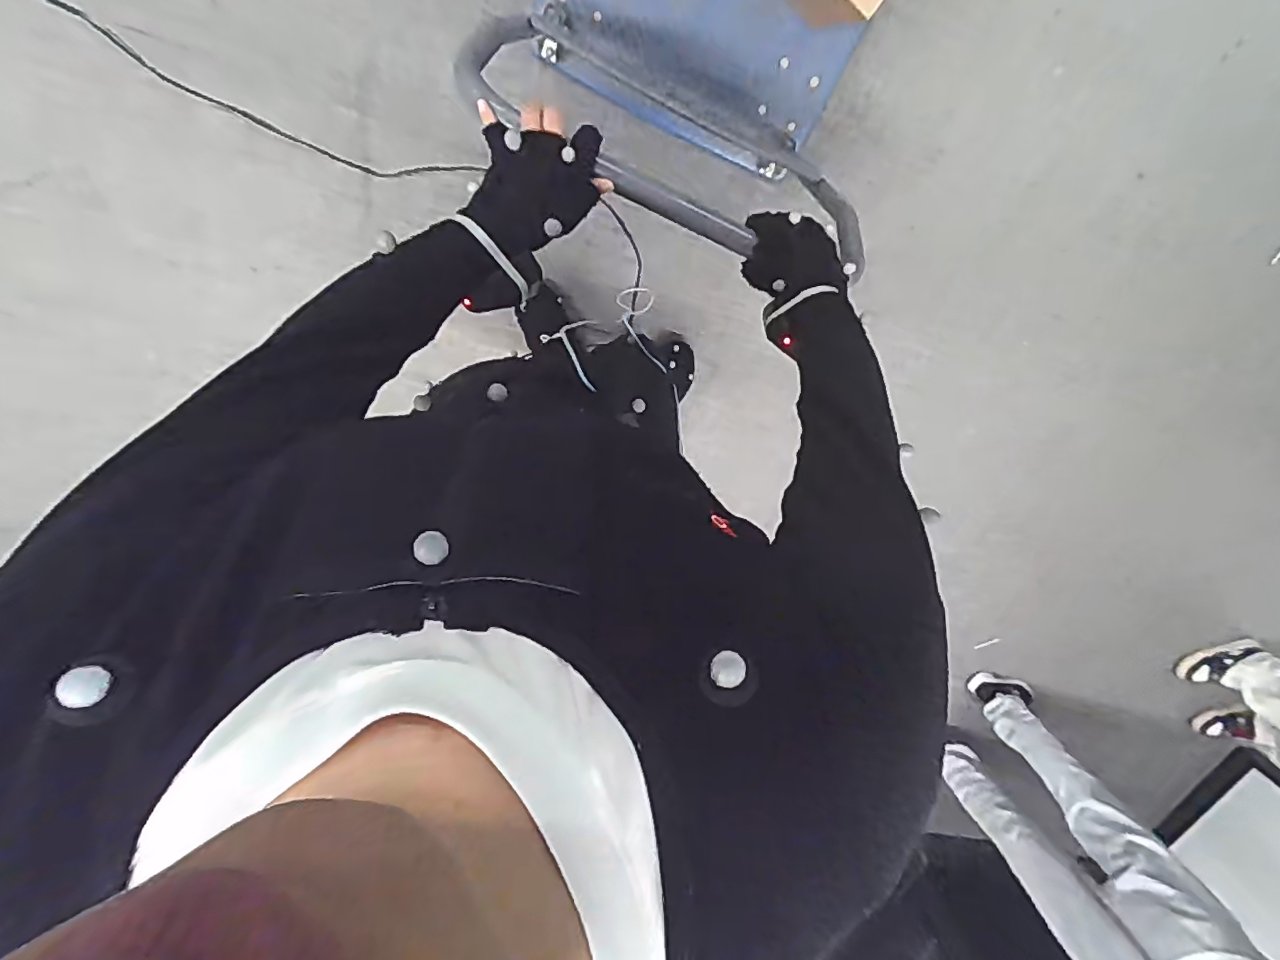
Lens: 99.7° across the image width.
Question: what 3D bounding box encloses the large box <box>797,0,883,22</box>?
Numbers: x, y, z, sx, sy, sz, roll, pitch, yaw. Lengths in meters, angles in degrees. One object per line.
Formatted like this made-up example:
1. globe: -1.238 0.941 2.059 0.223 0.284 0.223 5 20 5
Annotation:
1. large box: 0.255 -0.931 0.737 0.408 0.320 0.320 30 123 -20
